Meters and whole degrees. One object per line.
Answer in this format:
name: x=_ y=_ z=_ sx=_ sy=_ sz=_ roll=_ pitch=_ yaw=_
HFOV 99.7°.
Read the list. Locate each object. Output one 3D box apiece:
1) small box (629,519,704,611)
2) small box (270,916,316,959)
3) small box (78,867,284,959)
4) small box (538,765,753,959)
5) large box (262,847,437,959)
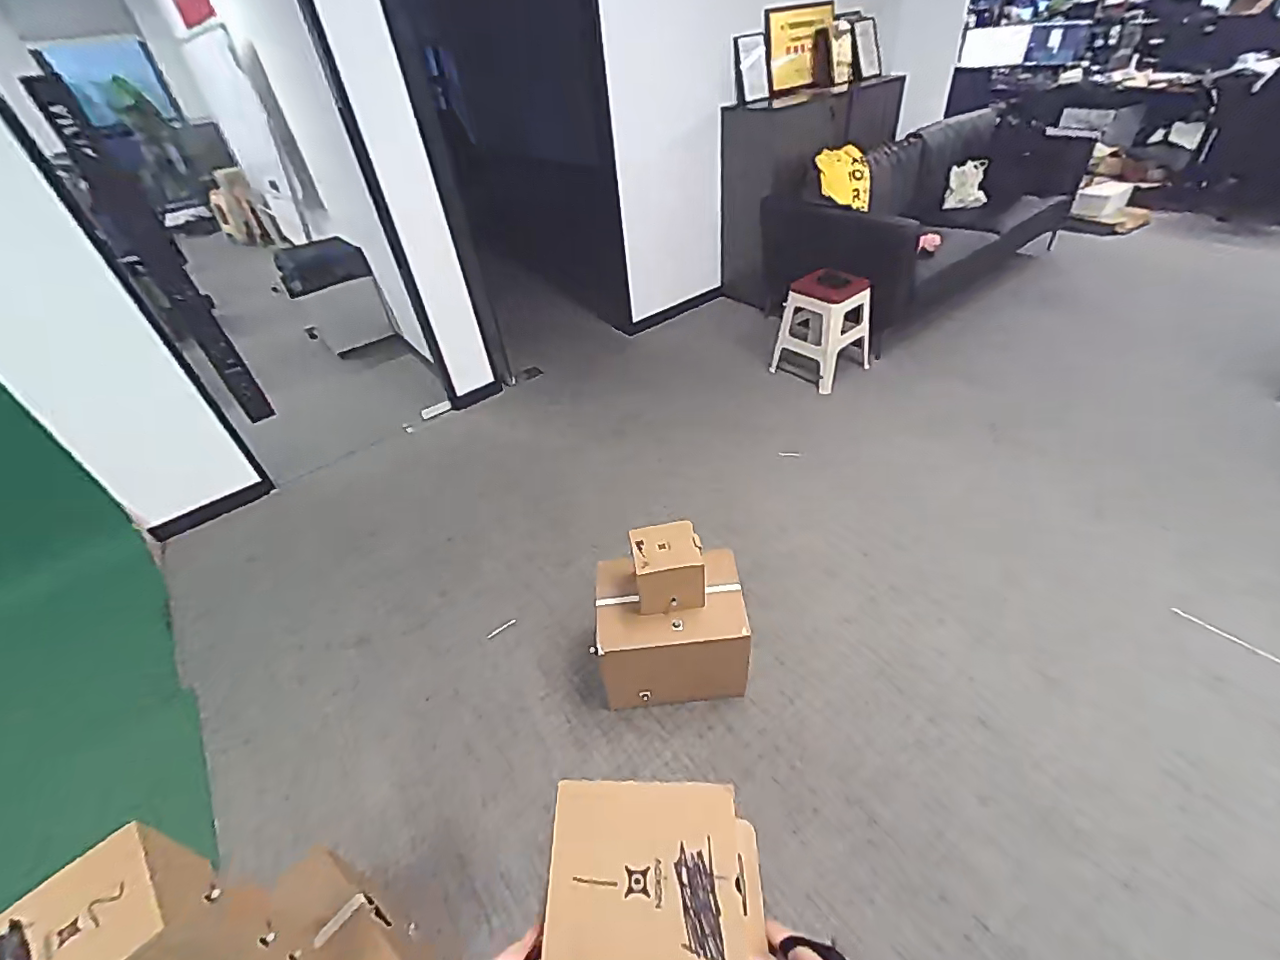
small box: x=0.068 y=0.230 z=1.457 sx=0.179 sy=0.176 sz=0.168 roll=-8 pitch=39 yaw=-4
small box: x=-0.619 y=0.825 z=0.847 sx=0.179 sy=0.176 sz=0.168 roll=29 pitch=51 yaw=34
small box: x=-0.634 y=0.698 z=0.747 sx=0.168 sy=0.176 sz=0.179 roll=31 pitch=51 yaw=35
small box: x=0.000 y=0.398 z=0.533 sx=0.179 sy=0.176 sz=0.168 roll=3 pitch=45 yaw=-2
large box: x=-0.640 y=1.014 z=1.007 sx=0.320 sy=0.320 sz=0.408 roll=23 pitch=50 yaw=31
